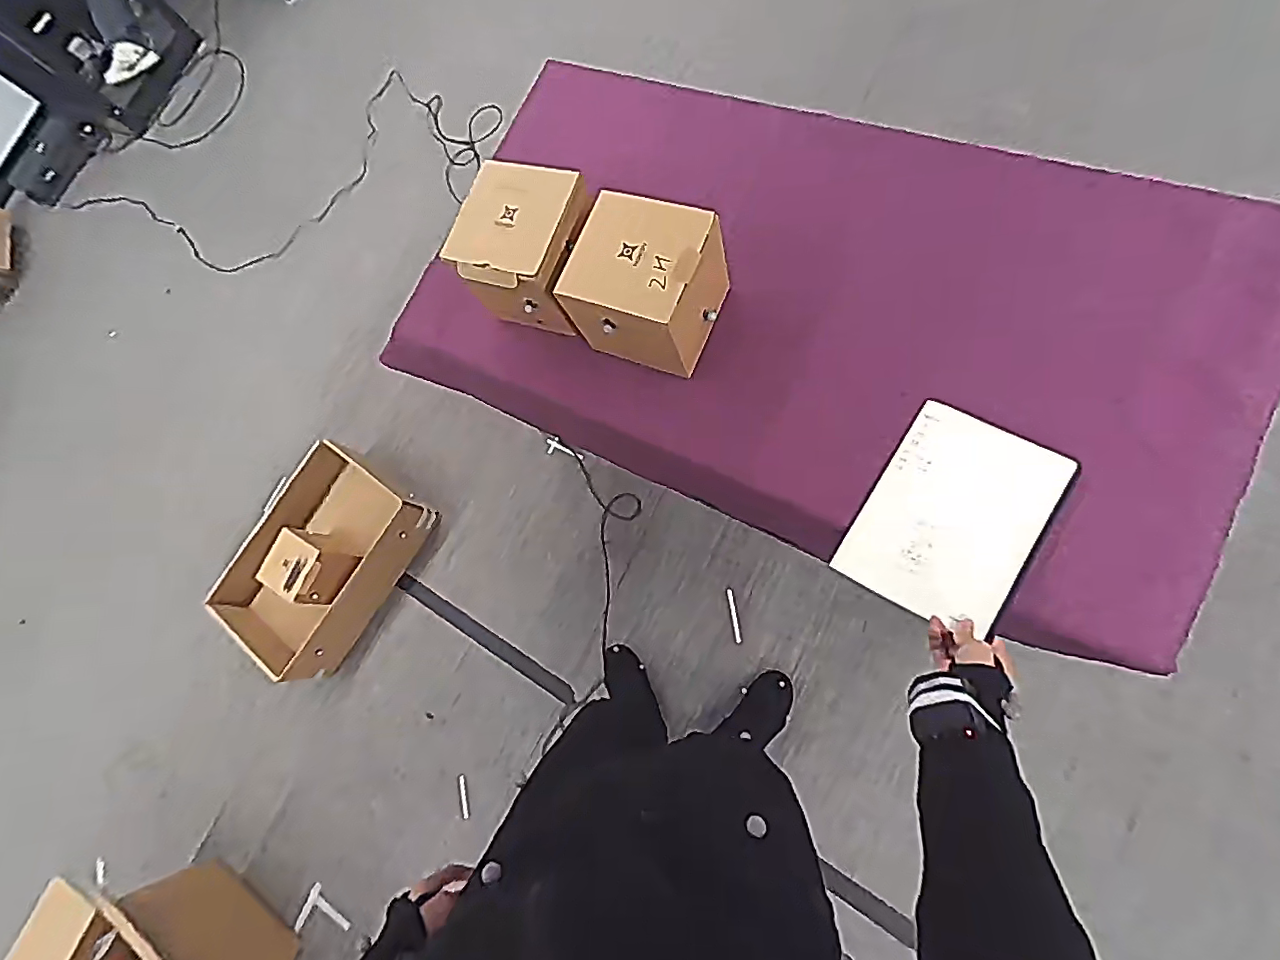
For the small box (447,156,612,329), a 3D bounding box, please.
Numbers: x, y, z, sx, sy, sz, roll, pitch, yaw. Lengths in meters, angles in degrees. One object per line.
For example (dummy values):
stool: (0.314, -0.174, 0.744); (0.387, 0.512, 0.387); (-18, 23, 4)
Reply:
small box: (-0.160, -0.363, 0.848); (0.168, 0.176, 0.179); (18, 82, 17)
